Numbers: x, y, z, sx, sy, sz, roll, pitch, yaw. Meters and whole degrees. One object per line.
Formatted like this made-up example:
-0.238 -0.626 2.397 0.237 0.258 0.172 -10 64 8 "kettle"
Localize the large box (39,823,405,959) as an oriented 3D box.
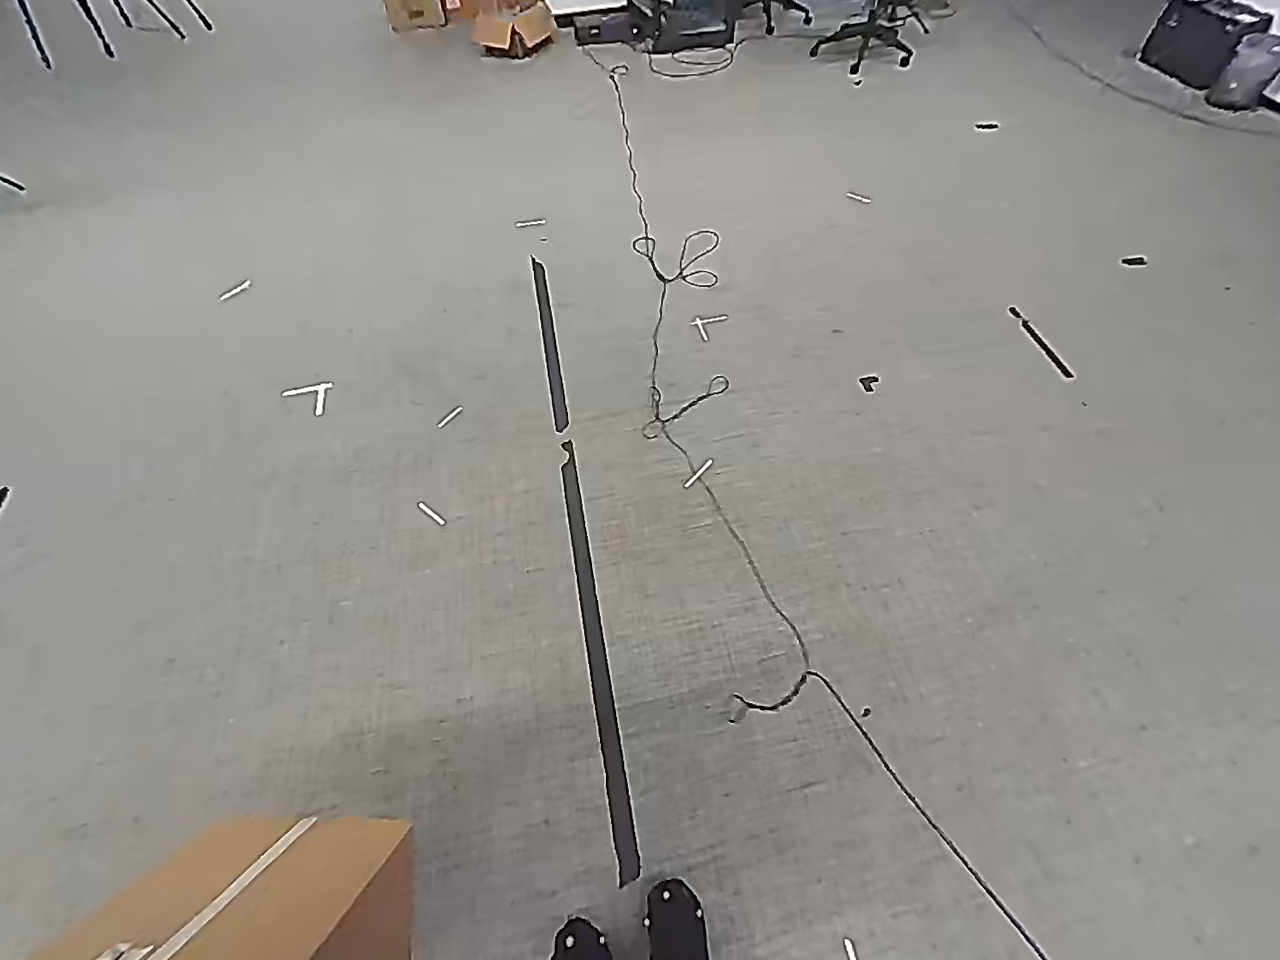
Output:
-0.521 0.688 0.645 0.320 0.408 0.320 -1 88 3 "large box"
